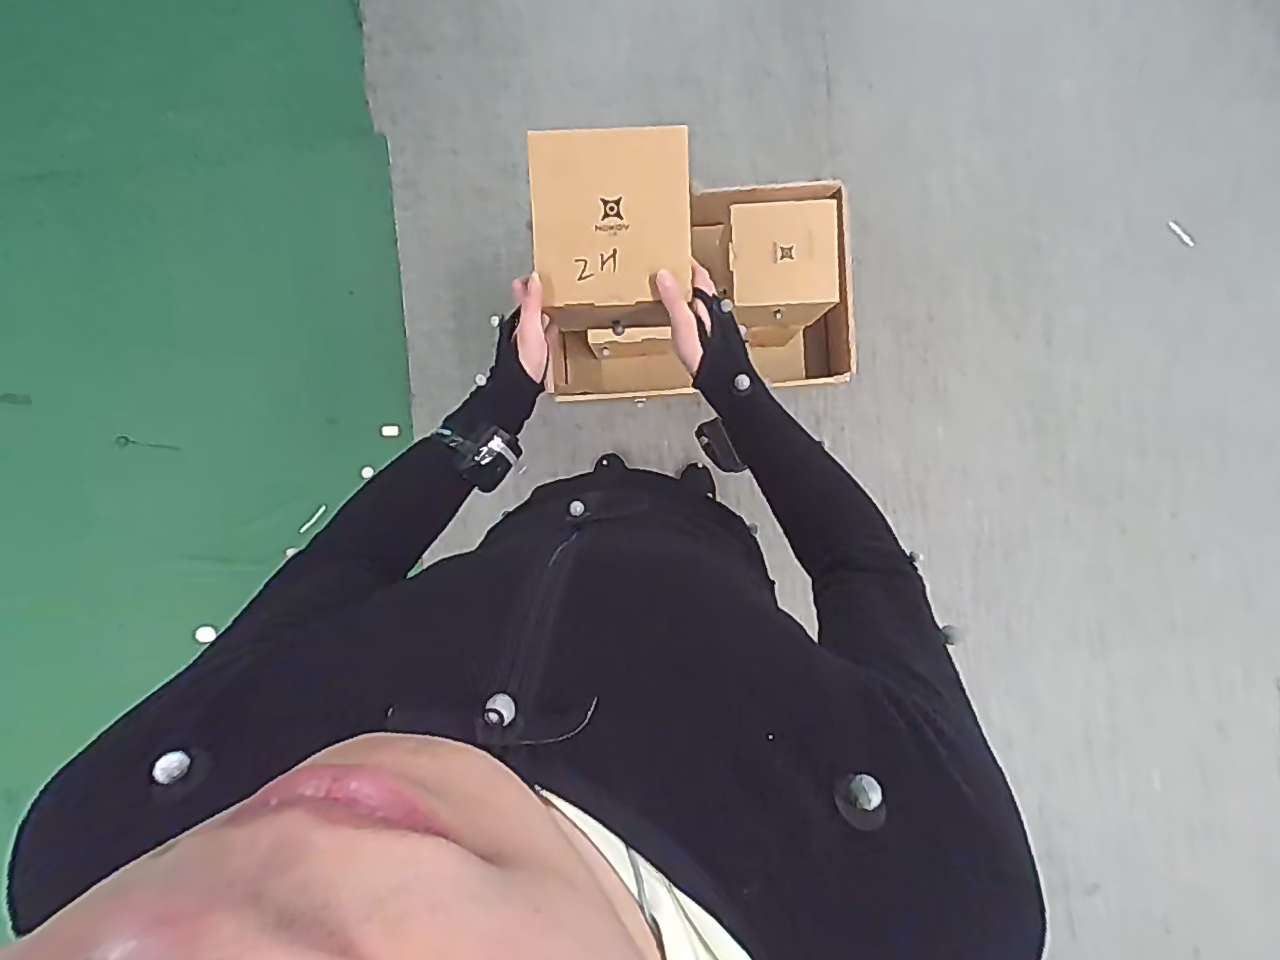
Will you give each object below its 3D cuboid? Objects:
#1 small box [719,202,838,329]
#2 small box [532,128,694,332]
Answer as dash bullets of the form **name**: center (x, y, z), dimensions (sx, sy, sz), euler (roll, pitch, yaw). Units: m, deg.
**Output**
- **small box**: center (0.234, -0.368, 0.956), dimensions (0.179, 0.176, 0.168), euler (-2, 93, 1)
- **small box**: center (-0.028, -0.277, 0.634), dimensions (0.168, 0.176, 0.179), euler (-2, 97, 0)
